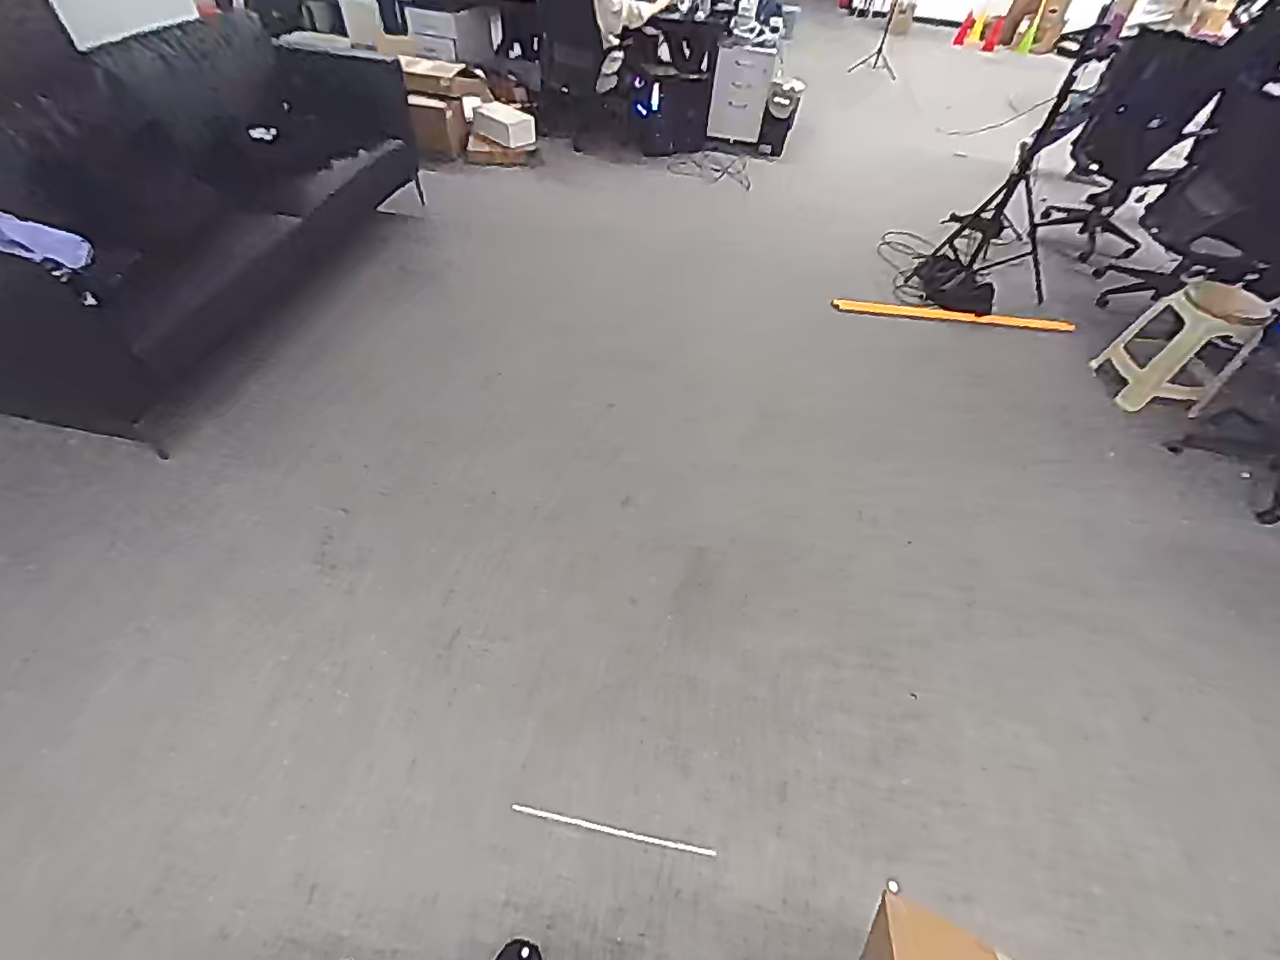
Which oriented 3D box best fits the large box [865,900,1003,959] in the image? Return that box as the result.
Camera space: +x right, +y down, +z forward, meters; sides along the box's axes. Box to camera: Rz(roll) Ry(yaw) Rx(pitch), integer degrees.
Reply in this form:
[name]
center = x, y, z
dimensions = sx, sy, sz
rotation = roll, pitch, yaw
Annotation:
[large box]
center = 0.387, 0.794, 0.570
dimensions = 0.320, 0.408, 0.320
rotation = 21, 92, 20
